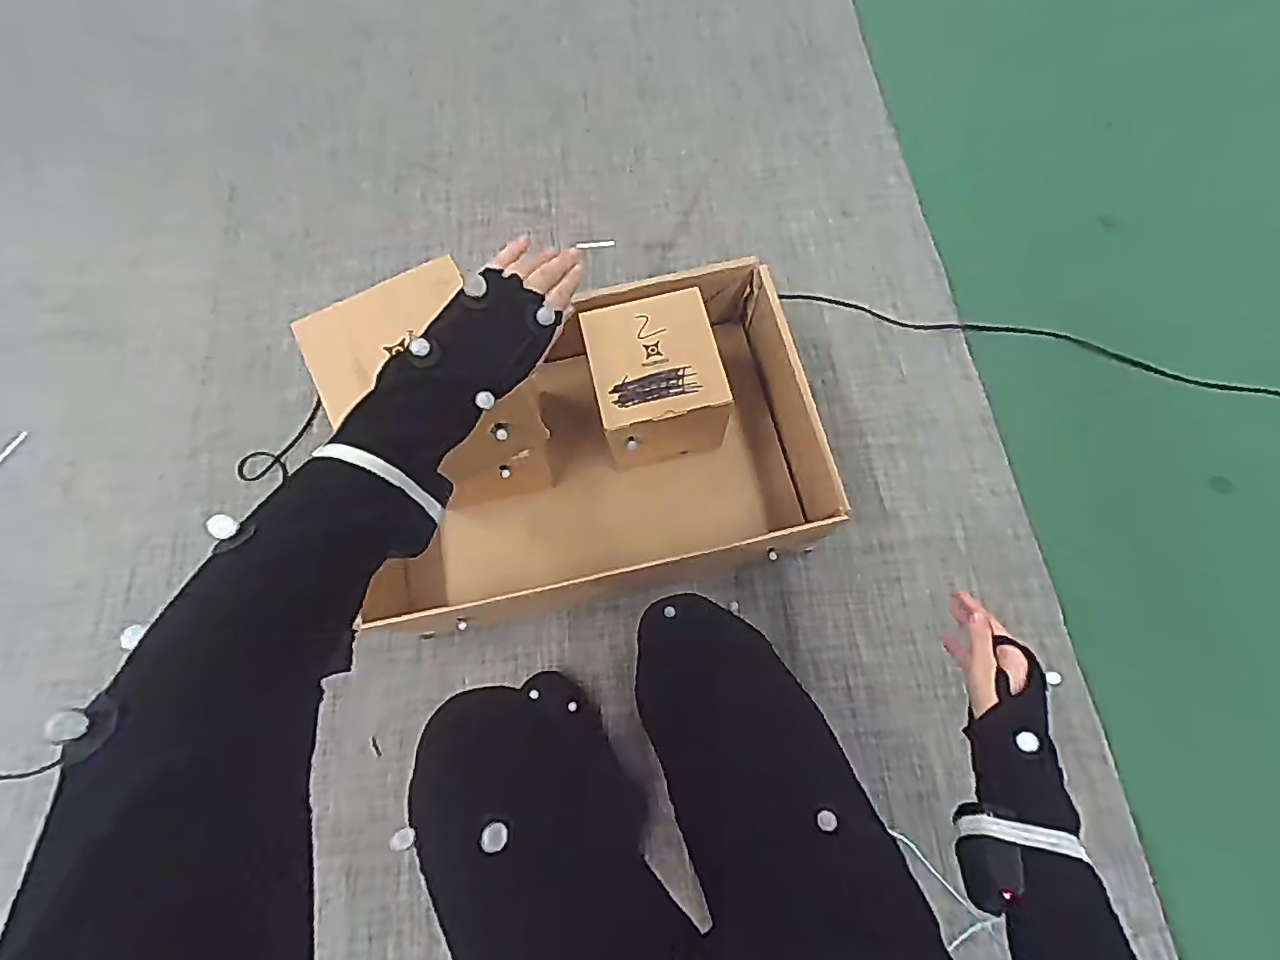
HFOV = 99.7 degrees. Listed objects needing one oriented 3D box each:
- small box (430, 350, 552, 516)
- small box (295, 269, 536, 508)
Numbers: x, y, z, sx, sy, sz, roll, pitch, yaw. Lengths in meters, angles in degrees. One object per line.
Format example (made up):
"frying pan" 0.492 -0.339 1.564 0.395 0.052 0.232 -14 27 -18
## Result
"small box" -0.235 -0.057 0.765 0.179 0.176 0.168 -12 73 -2
"small box" -0.230 -0.090 0.604 0.179 0.176 0.168 -28 74 -6
